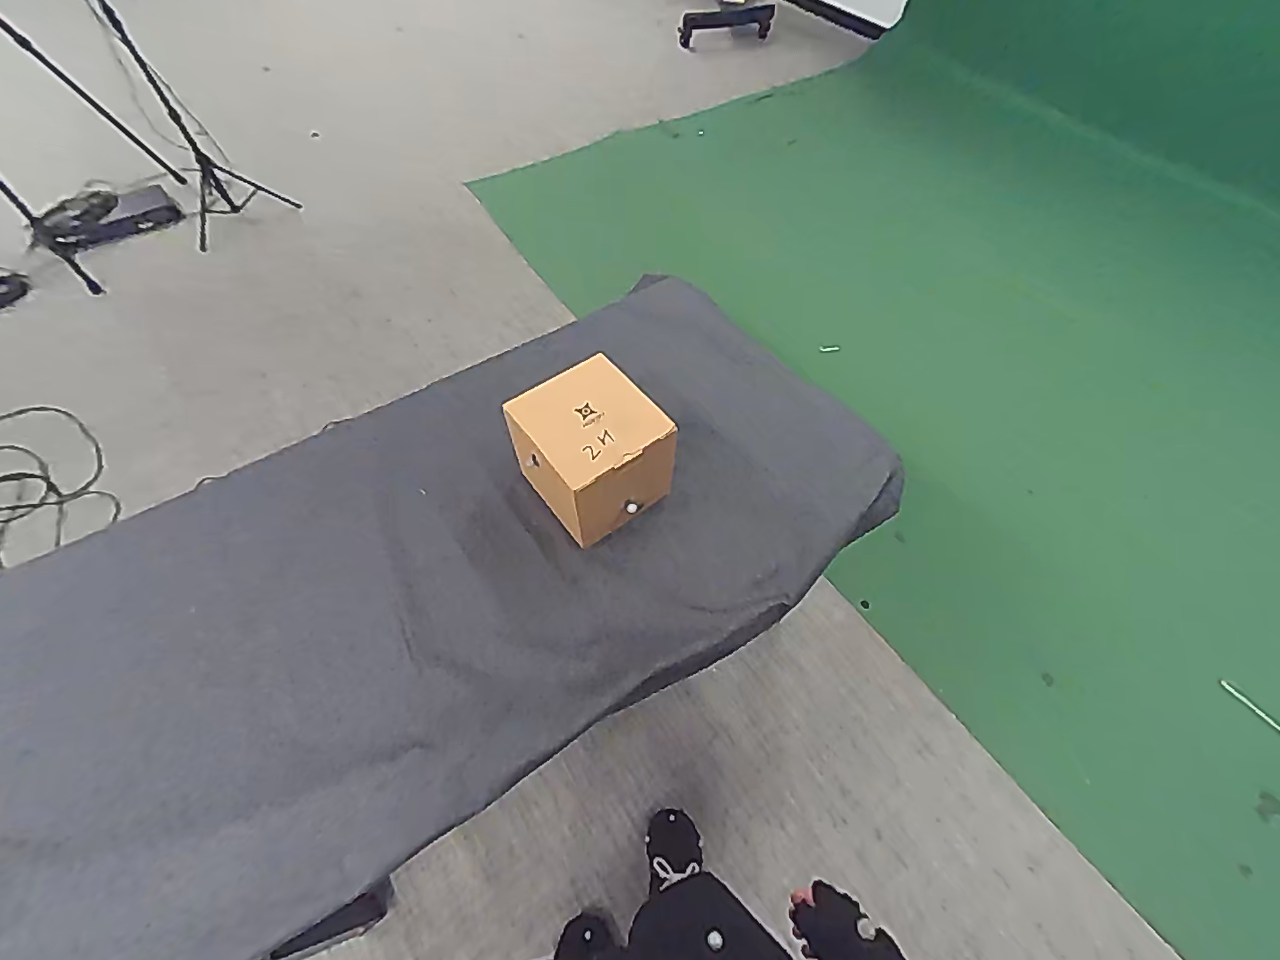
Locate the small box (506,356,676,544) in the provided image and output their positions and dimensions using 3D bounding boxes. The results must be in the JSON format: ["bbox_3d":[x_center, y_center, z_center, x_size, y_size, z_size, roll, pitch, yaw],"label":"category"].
[{"bbox_3d":[-0.070,-0.040,0.783,0.168,0.176,0.179,-32,64,-20],"label":"small box"}]
